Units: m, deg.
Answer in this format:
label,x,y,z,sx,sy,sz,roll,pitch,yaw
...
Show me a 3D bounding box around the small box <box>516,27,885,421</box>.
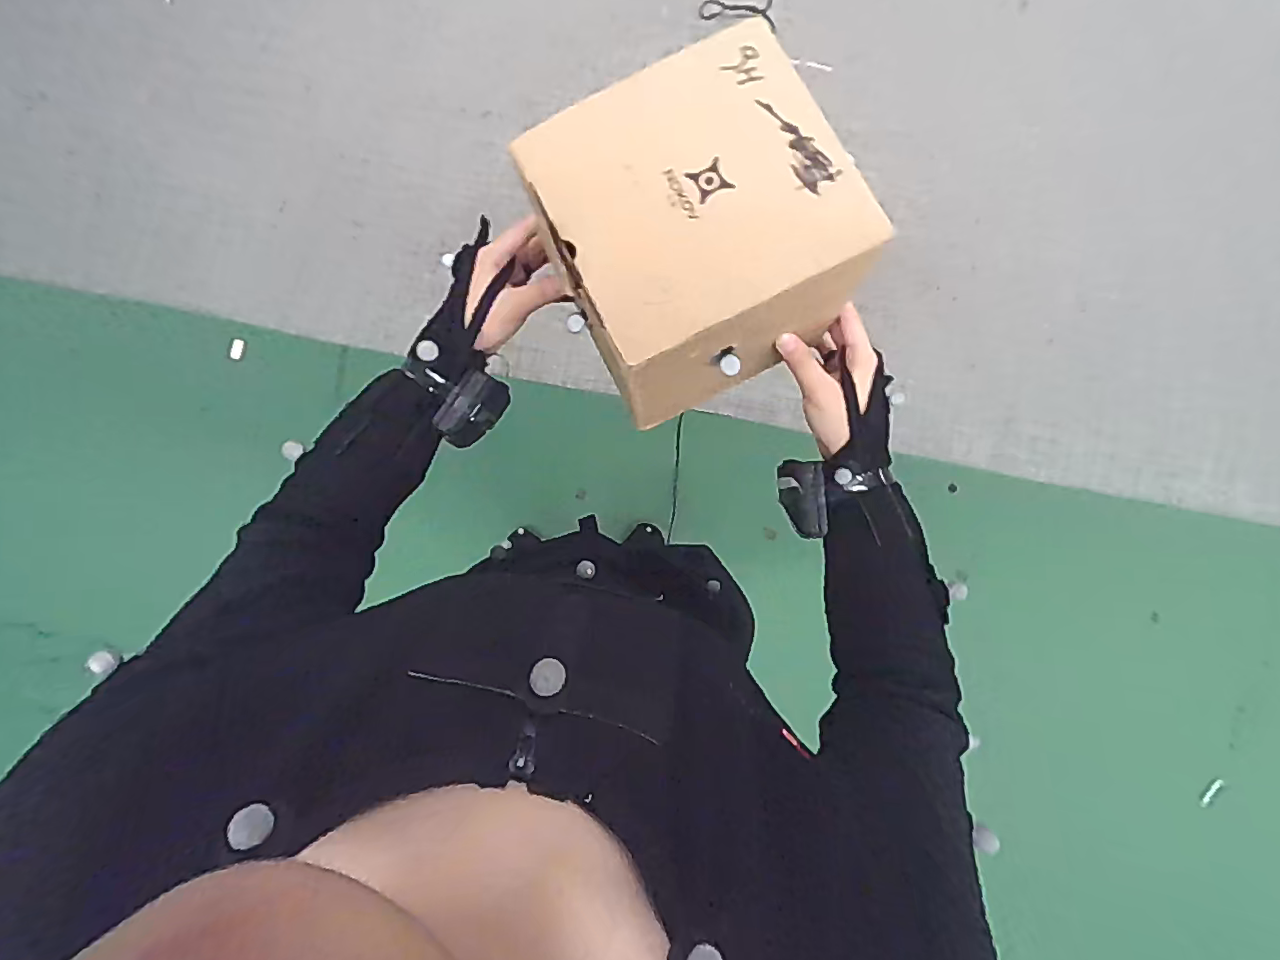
label,x,y,z,sx,sy,sz,roll,pitch,yaw
small box,0.039,-0.163,0.405,0.179,0.176,0.168,-27,83,1
